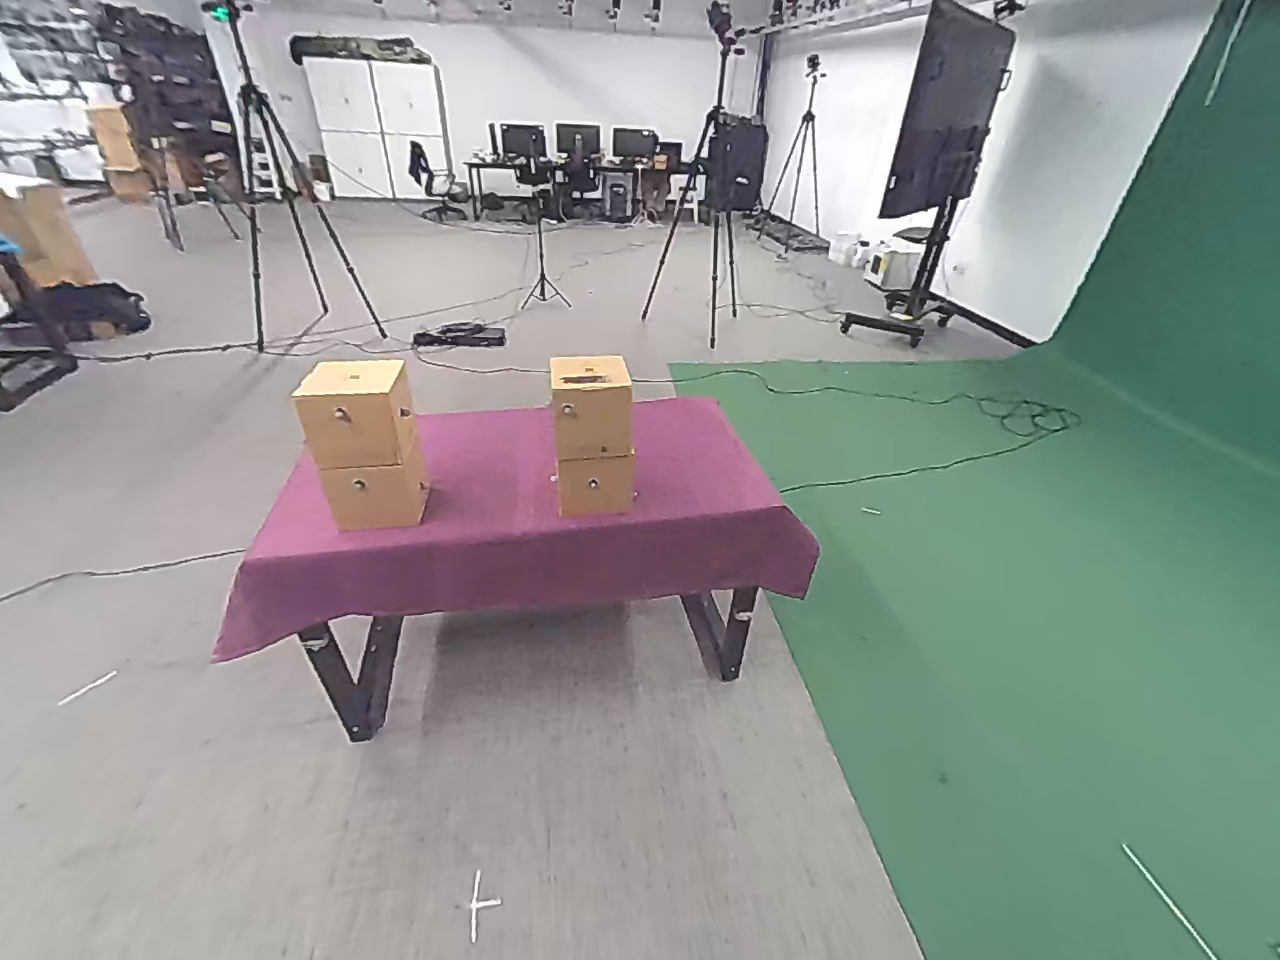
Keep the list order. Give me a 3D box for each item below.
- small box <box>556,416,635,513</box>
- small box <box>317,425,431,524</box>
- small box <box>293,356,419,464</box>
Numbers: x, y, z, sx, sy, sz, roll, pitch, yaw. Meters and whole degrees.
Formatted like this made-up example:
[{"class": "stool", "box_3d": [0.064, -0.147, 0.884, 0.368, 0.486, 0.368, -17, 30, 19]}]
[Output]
[{"class": "small box", "box_3d": [-0.110, -0.037, 1.295, 0.179, 0.176, 0.168, -4, 35, -8]}, {"class": "small box", "box_3d": [-0.591, -0.013, 1.225, 0.179, 0.176, 0.168, -2, 36, -8]}, {"class": "small box", "box_3d": [-0.579, -0.147, 1.133, 0.179, 0.176, 0.168, -4, 36, -8]}]
